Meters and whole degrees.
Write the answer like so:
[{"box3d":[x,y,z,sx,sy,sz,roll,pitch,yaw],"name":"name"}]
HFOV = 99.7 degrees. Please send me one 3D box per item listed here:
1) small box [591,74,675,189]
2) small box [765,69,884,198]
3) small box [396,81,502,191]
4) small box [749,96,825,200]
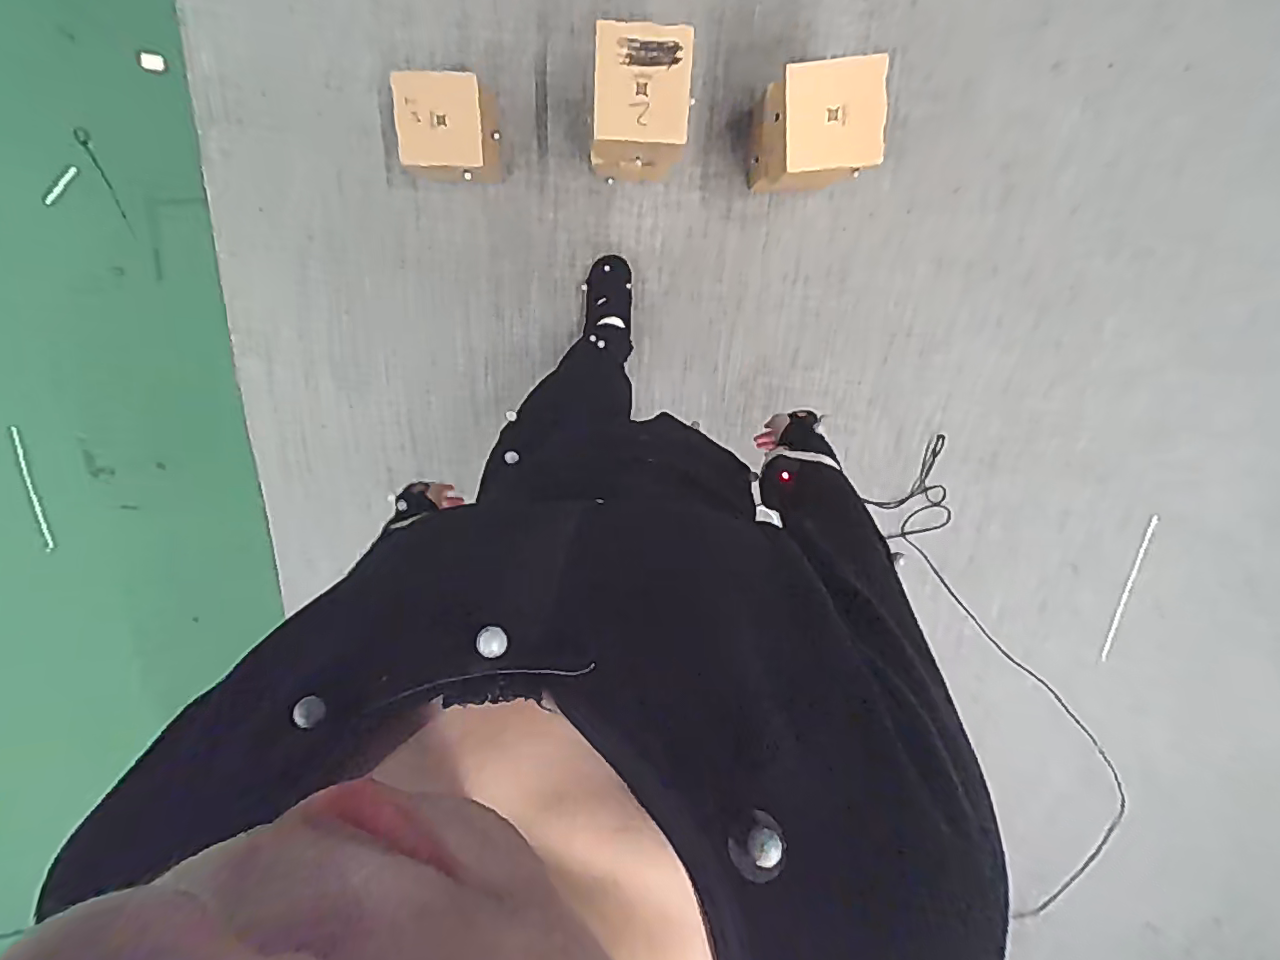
[{"box3d":[-0.014,-0.742,1.170,0.168,0.176,0.179,3,108,0],"name":"small box"},{"box3d":[0.338,-0.645,1.027,0.179,0.176,0.168,-5,109,2],"name":"small box"},{"box3d":[-0.403,-0.739,1.178,0.179,0.176,0.168,2,108,0],"name":"small box"},{"box3d":[0.338,-0.712,1.176,0.179,0.176,0.168,0,109,0],"name":"small box"}]
